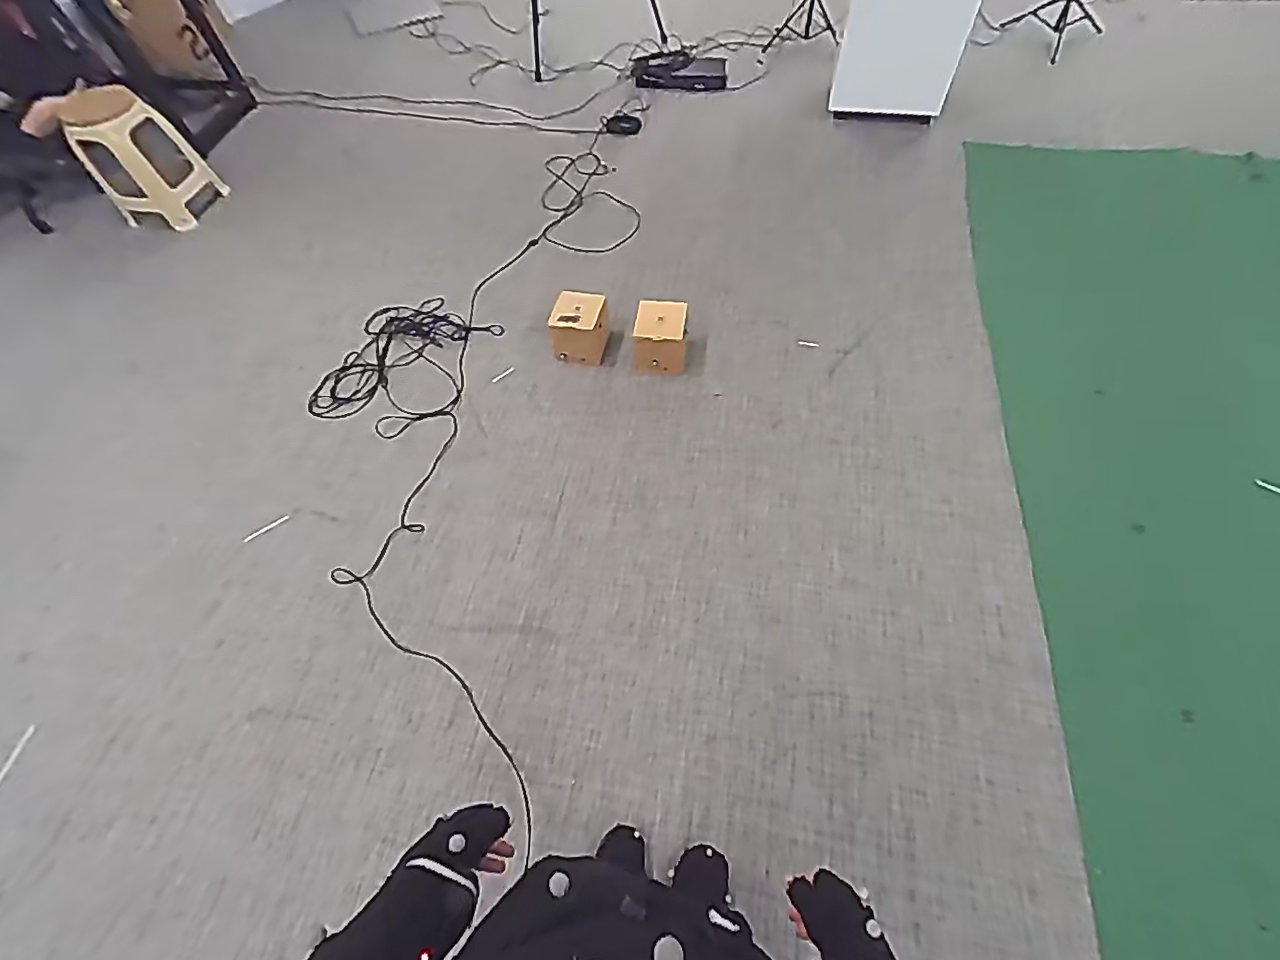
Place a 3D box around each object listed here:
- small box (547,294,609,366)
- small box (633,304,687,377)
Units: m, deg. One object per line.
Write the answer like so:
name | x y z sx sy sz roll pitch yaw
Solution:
small box | -0.212 -0.531 1.925 0.168 0.176 0.179 10 60 9
small box | 0.072 -0.486 1.881 0.168 0.176 0.179 5 60 7
